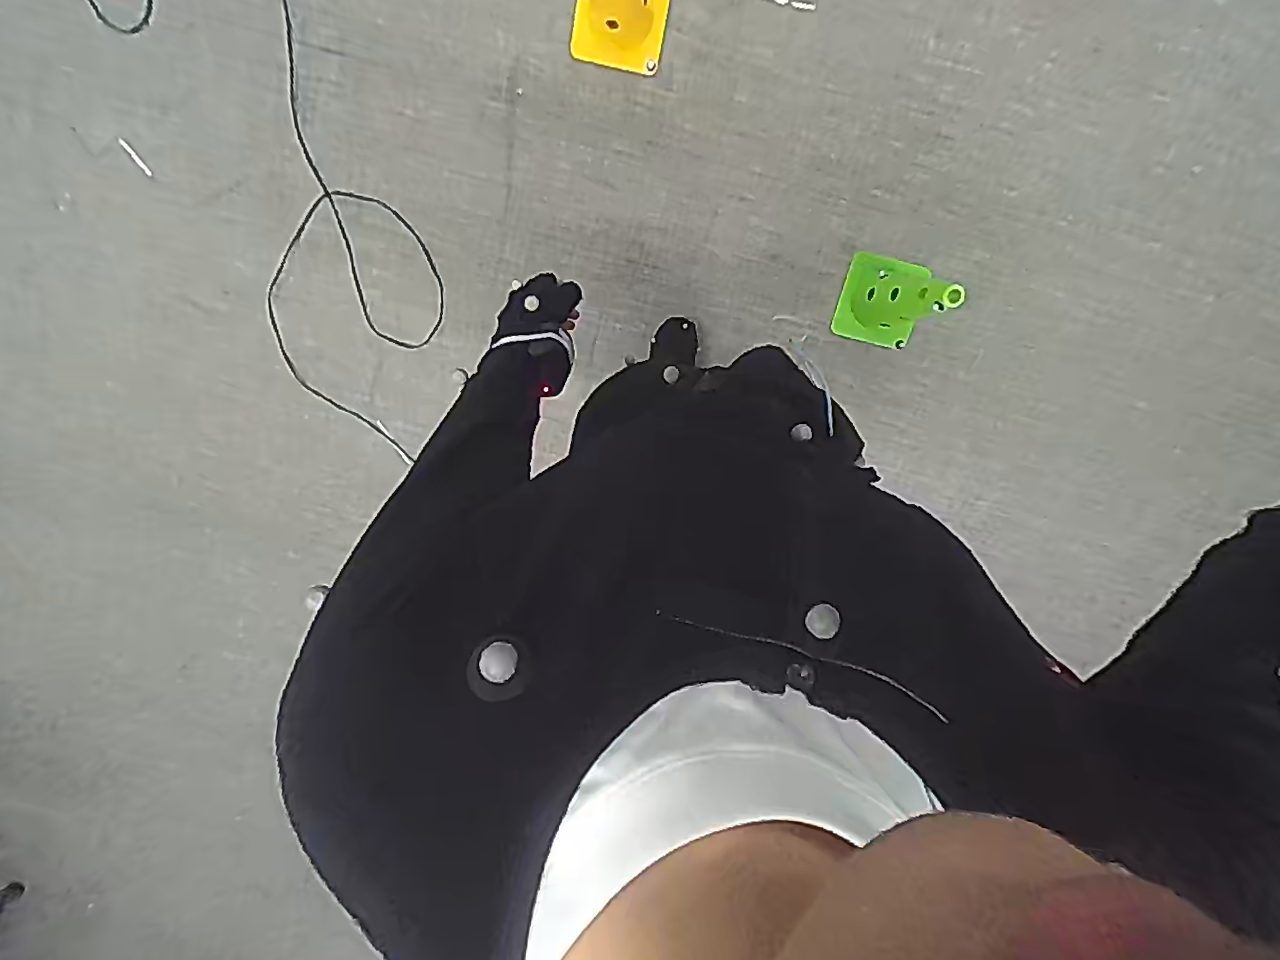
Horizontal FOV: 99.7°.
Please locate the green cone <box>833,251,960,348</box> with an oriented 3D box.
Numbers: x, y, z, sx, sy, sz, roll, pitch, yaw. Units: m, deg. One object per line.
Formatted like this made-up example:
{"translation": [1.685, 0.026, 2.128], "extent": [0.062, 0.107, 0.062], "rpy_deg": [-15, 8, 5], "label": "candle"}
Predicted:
{"translation": [0.589, -0.397, 1.170], "extent": [0.202, 0.368, 0.200], "rpy_deg": [13, 106, -1], "label": "green cone"}
